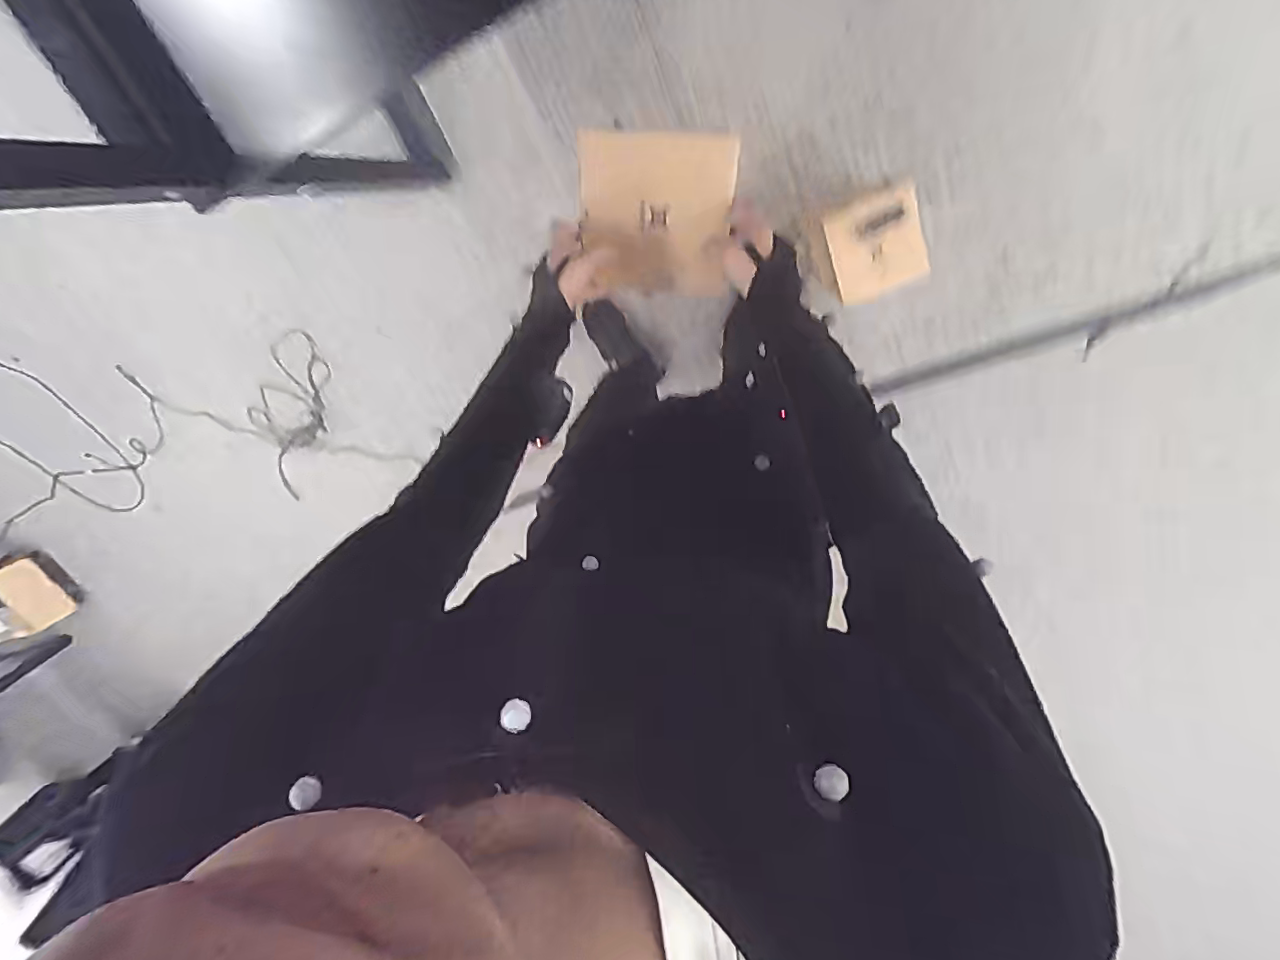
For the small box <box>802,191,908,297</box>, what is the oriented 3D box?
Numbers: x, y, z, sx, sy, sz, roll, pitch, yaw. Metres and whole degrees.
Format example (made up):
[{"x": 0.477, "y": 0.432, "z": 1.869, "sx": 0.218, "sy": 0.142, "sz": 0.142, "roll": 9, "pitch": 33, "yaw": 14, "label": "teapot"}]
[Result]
[{"x": 0.489, "y": -0.548, "z": 1.246, "sx": 0.179, "sy": 0.176, "sz": 0.168, "roll": -19, "pitch": 113, "yaw": 20, "label": "small box"}]

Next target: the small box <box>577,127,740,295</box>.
[{"x": 0.026, "y": -0.340, "z": 0.675, "sx": 0.179, "sy": 0.176, "sz": 0.168, "roll": 5, "pitch": 123, "yaw": 6, "label": "small box"}]
